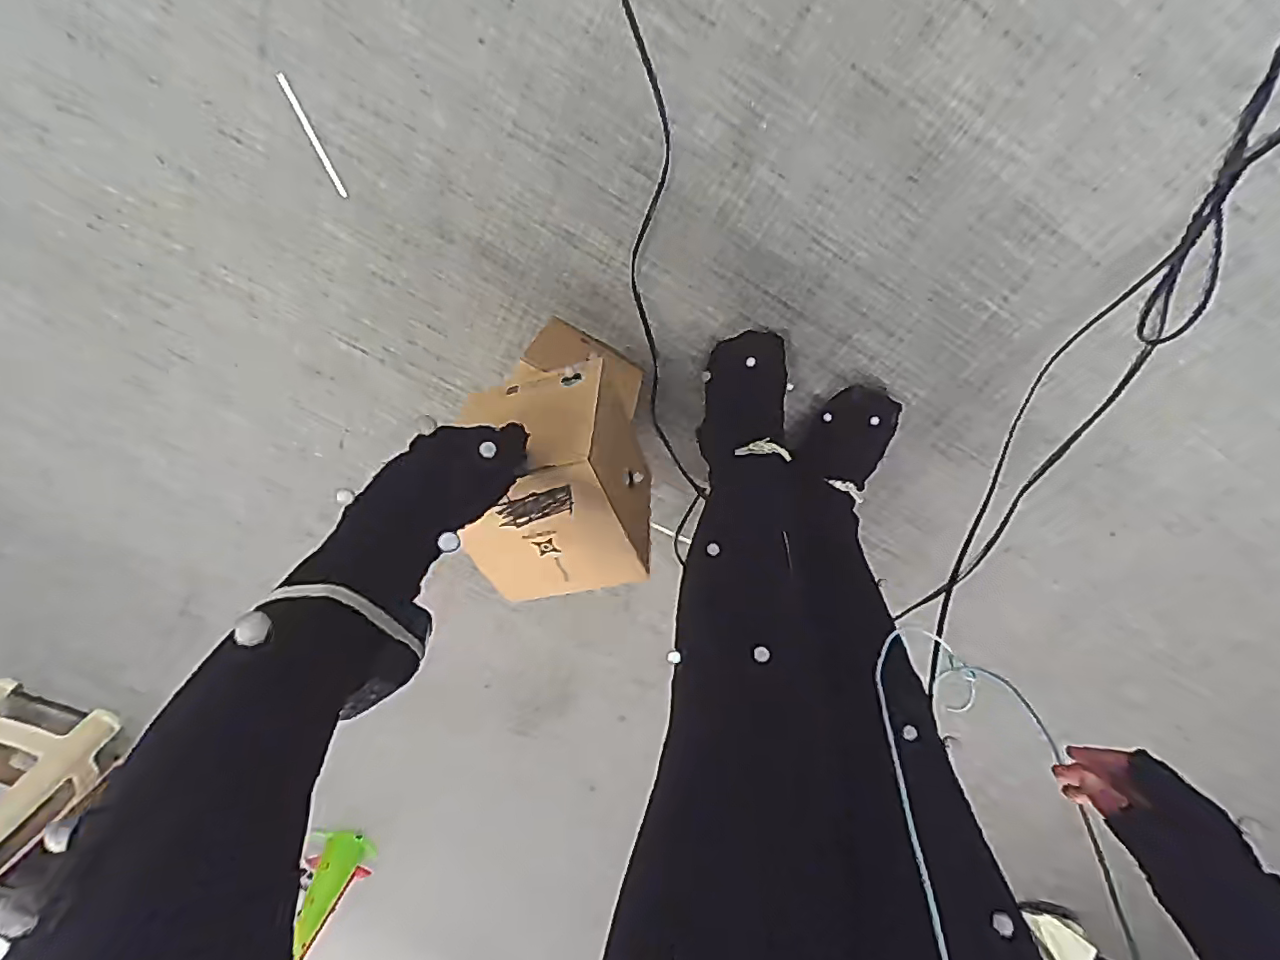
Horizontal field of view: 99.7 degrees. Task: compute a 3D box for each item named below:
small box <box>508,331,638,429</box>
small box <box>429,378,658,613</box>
[{"bbox_3d":[-0.113,-0.089,0.796,0.168,0.176,0.179,30,121,-13],"label":"small box"},{"bbox_3d":[-0.086,0.012,0.576,0.168,0.176,0.179,-14,133,15],"label":"small box"}]
